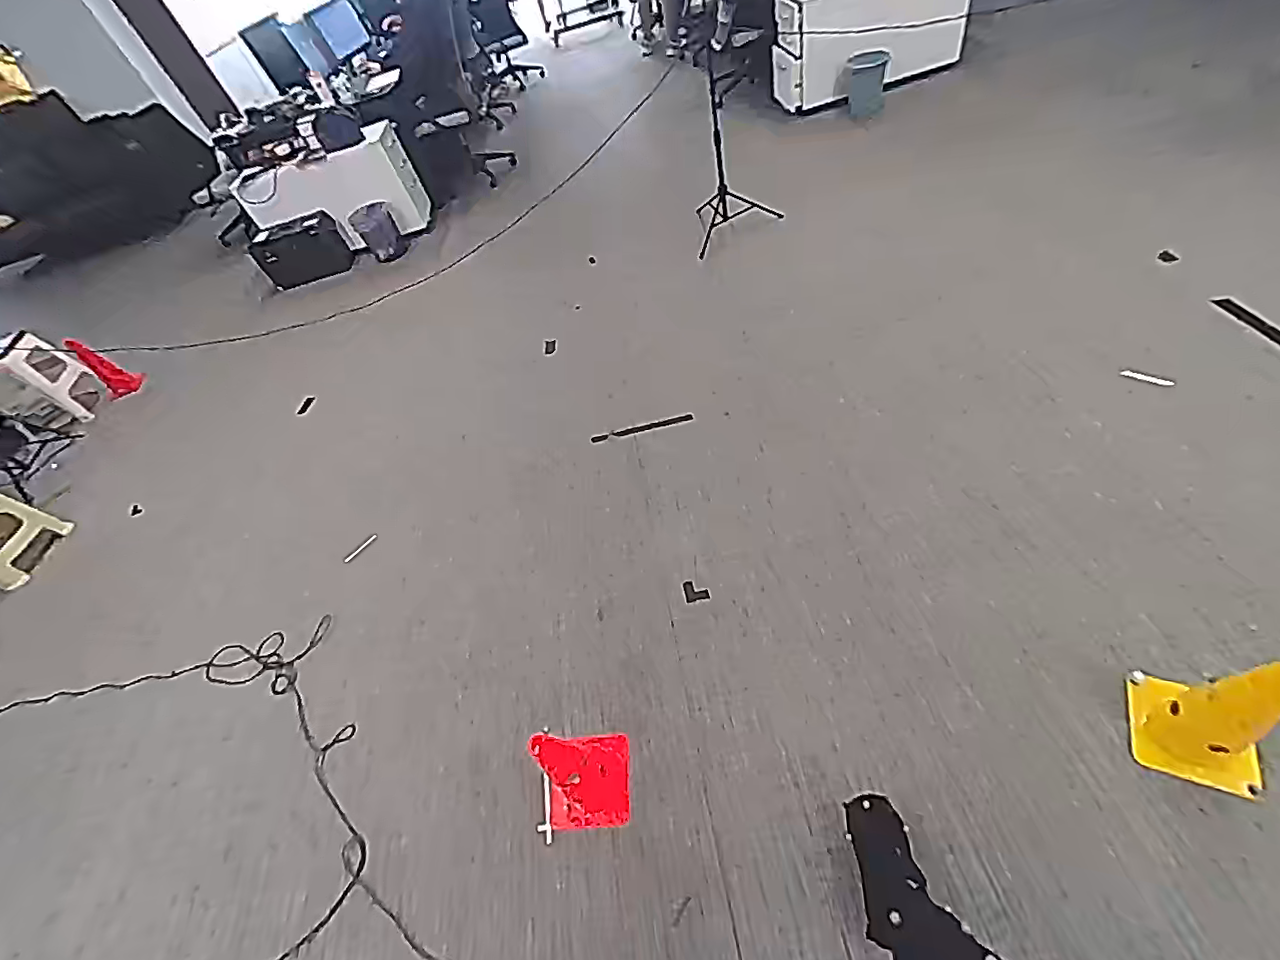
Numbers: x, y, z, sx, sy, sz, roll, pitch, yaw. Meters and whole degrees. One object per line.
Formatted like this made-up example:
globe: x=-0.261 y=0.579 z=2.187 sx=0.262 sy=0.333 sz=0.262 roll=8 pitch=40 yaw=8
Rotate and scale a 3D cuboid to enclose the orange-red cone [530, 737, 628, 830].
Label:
orange-red cone: x=-0.160 y=0.634 z=1.194 sx=0.199 sy=0.360 sz=0.198 roll=-8 pitch=50 yaw=9
